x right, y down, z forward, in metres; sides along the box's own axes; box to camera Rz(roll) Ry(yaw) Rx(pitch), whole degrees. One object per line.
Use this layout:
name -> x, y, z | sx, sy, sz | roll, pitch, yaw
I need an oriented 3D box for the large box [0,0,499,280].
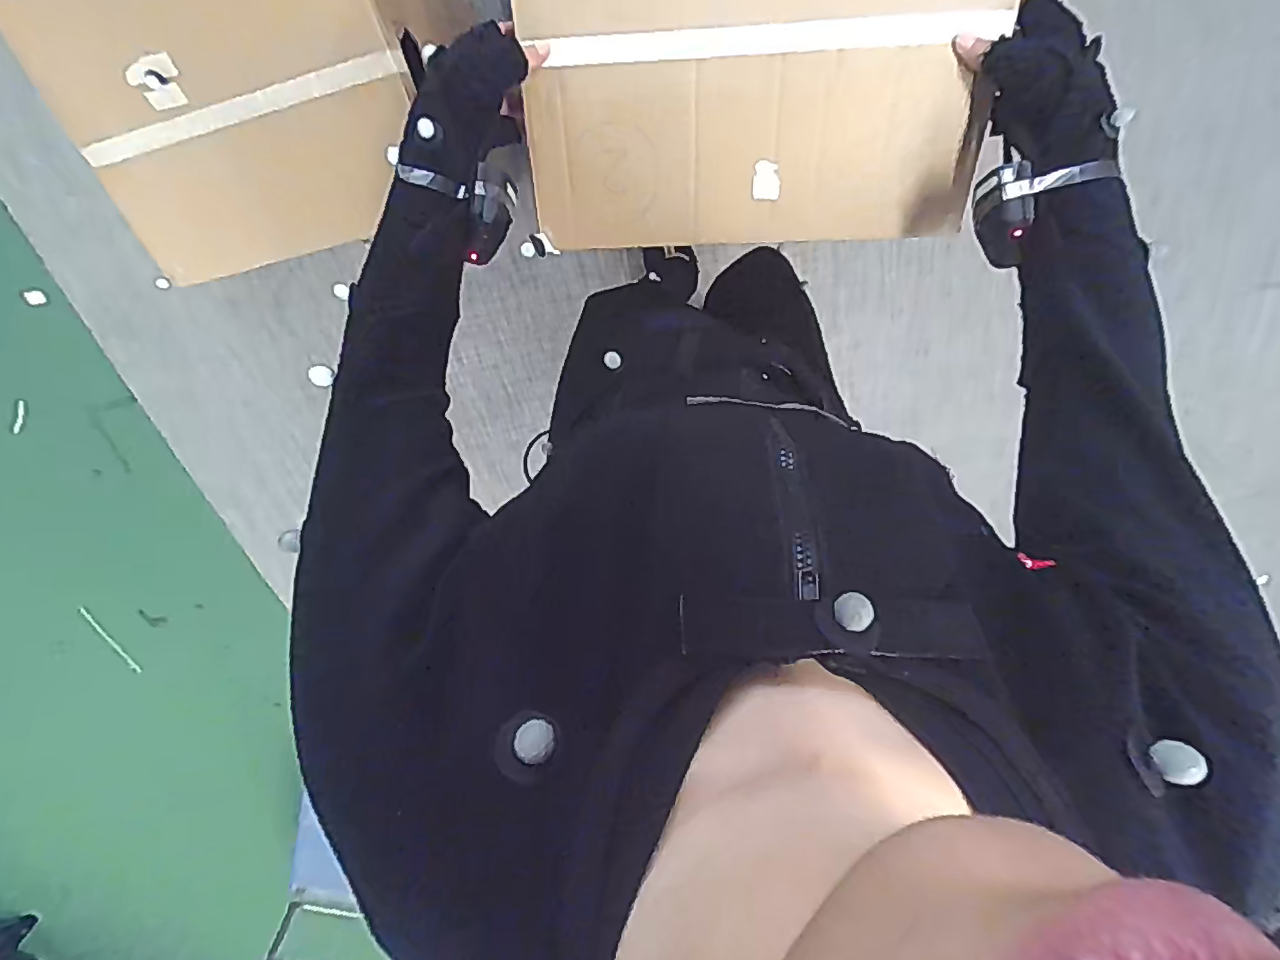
large box -> -0.466, -0.512, 0.751 | 0.408, 0.320, 0.320 | -11, 121, 7
